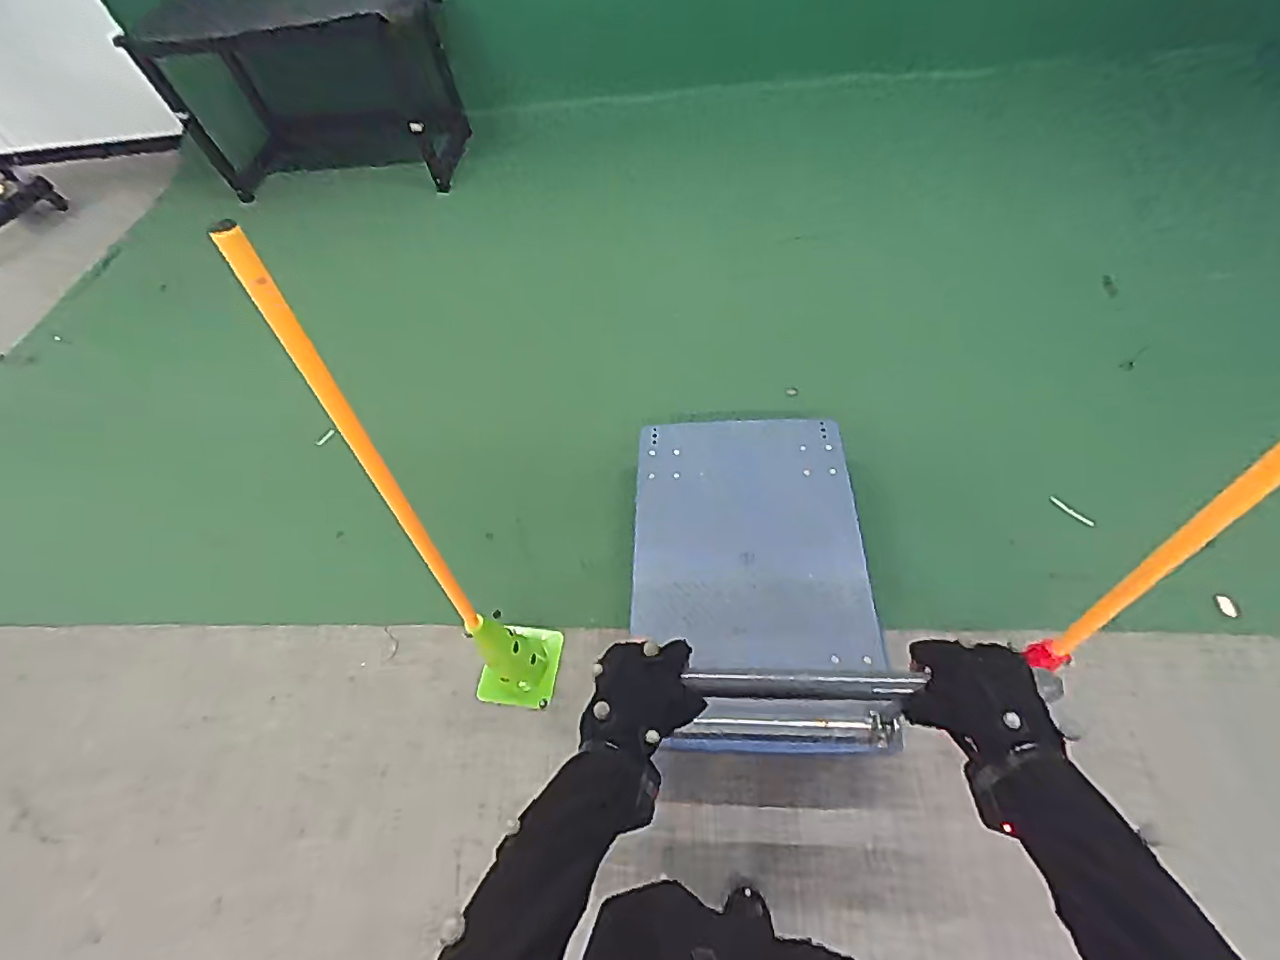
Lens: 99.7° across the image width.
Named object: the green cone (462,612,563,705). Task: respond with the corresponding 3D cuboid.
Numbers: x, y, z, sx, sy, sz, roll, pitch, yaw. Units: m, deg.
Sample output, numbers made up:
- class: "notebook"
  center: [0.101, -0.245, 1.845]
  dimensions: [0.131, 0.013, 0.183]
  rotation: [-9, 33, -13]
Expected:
- class: "green cone"
  center: [-0.336, 0.396, 1.306]
  dimensions: [0.202, 0.368, 0.200]
  rotation: [3, 57, 10]
